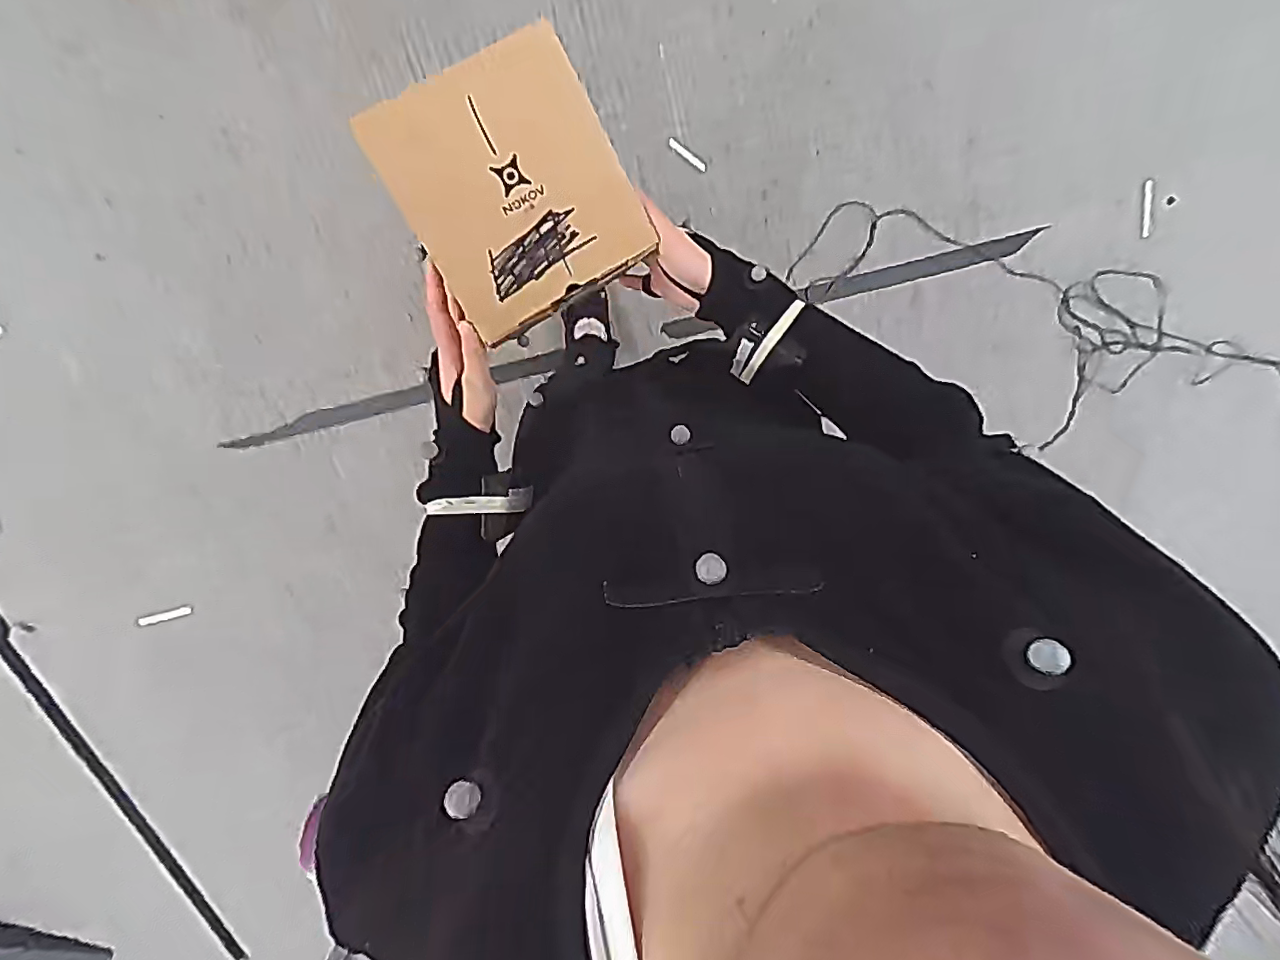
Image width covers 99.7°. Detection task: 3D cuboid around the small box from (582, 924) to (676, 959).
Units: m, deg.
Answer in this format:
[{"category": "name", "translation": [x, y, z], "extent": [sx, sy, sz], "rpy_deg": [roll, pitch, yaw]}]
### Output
[{"category": "small box", "translation": [-0.004, 0.952, 0.963], "extent": [0.168, 0.176, 0.179], "rpy_deg": [-15, 107, -1]}]

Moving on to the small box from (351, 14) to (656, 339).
[{"category": "small box", "translation": [-0.111, -0.241, 0.483], "extent": [0.168, 0.176, 0.179], "rpy_deg": [-31, 106, -6]}]
